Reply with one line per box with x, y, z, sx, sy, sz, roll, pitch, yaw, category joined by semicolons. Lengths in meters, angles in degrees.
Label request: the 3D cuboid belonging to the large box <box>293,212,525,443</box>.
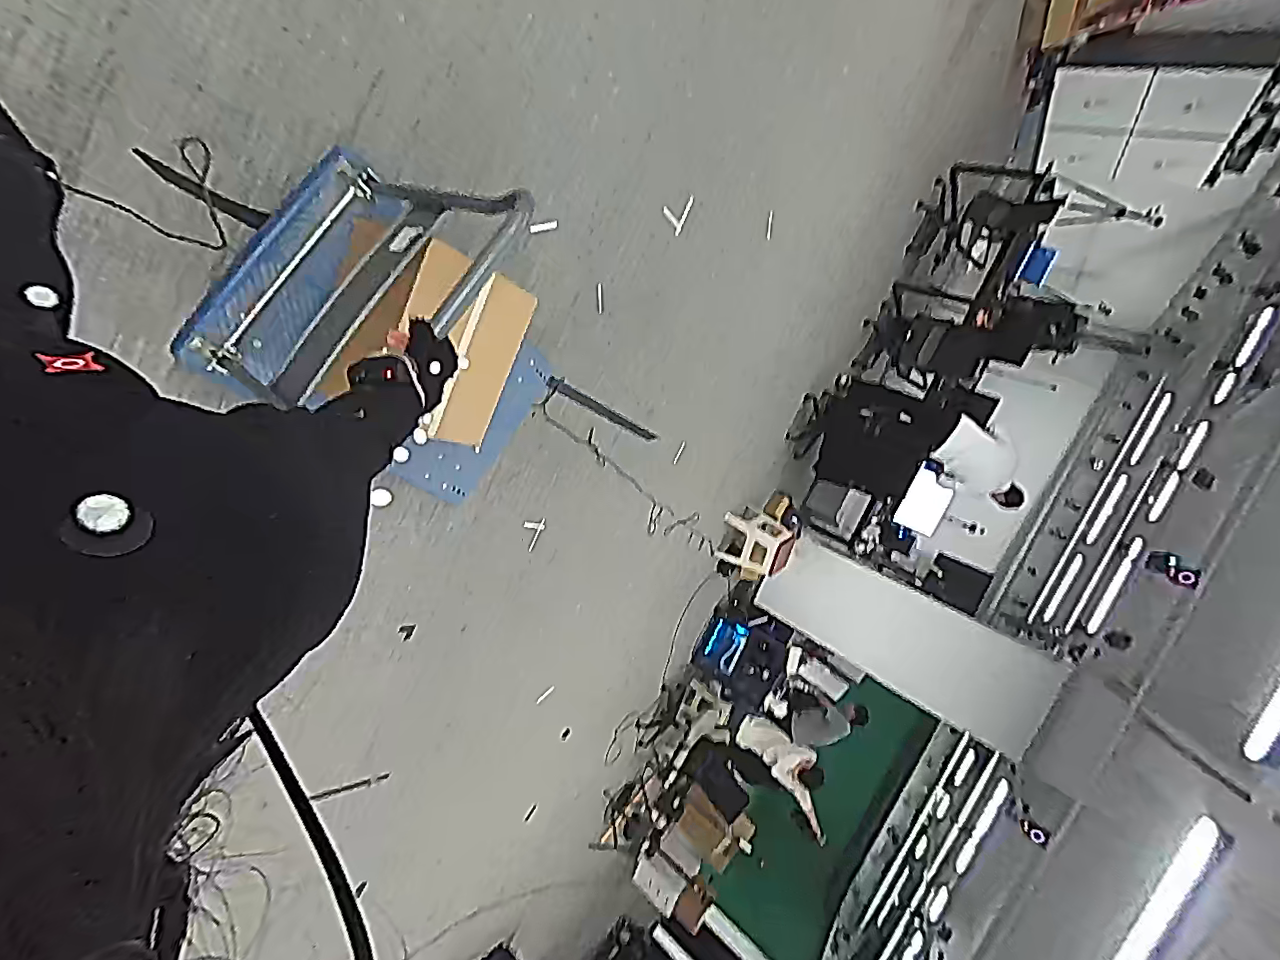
-0.545;-0.349;1.285;0.320;0.320;0.408;13;103;-58;large box
